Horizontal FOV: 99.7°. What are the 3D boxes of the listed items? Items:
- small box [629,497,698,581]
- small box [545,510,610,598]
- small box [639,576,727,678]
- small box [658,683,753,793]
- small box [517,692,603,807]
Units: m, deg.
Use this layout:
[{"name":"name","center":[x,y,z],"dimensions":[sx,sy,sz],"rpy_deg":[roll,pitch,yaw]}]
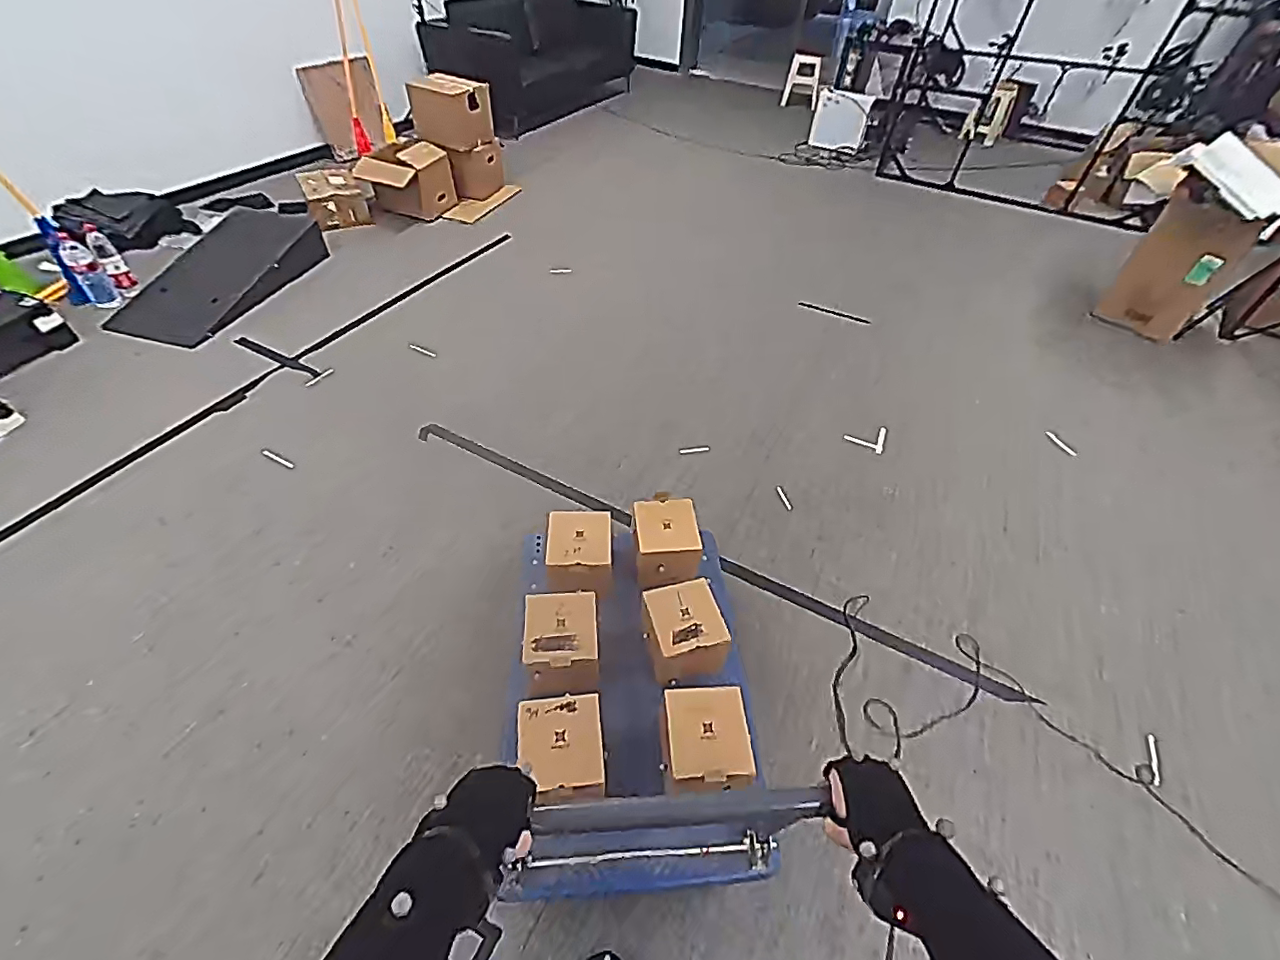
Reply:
[{"name":"small box","center":[0.060,0.172,1.518],"dimensions":[0.168,0.176,0.179],"rpy_deg":[-3,47,-8]},{"name":"small box","center":[-0.167,0.201,1.468],"dimensions":[0.168,0.176,0.179],"rpy_deg":[0,48,-5]},{"name":"small box","center":[0.099,0.370,1.335],"dimensions":[0.168,0.176,0.179],"rpy_deg":[-10,48,-14]},{"name":"small box","center":[0.133,0.558,1.162],"dimensions":[0.168,0.176,0.179],"rpy_deg":[0,46,-6]},{"name":"small box","center":[-0.164,0.566,1.128],"dimensions":[0.168,0.176,0.179],"rpy_deg":[-3,48,-9]}]
